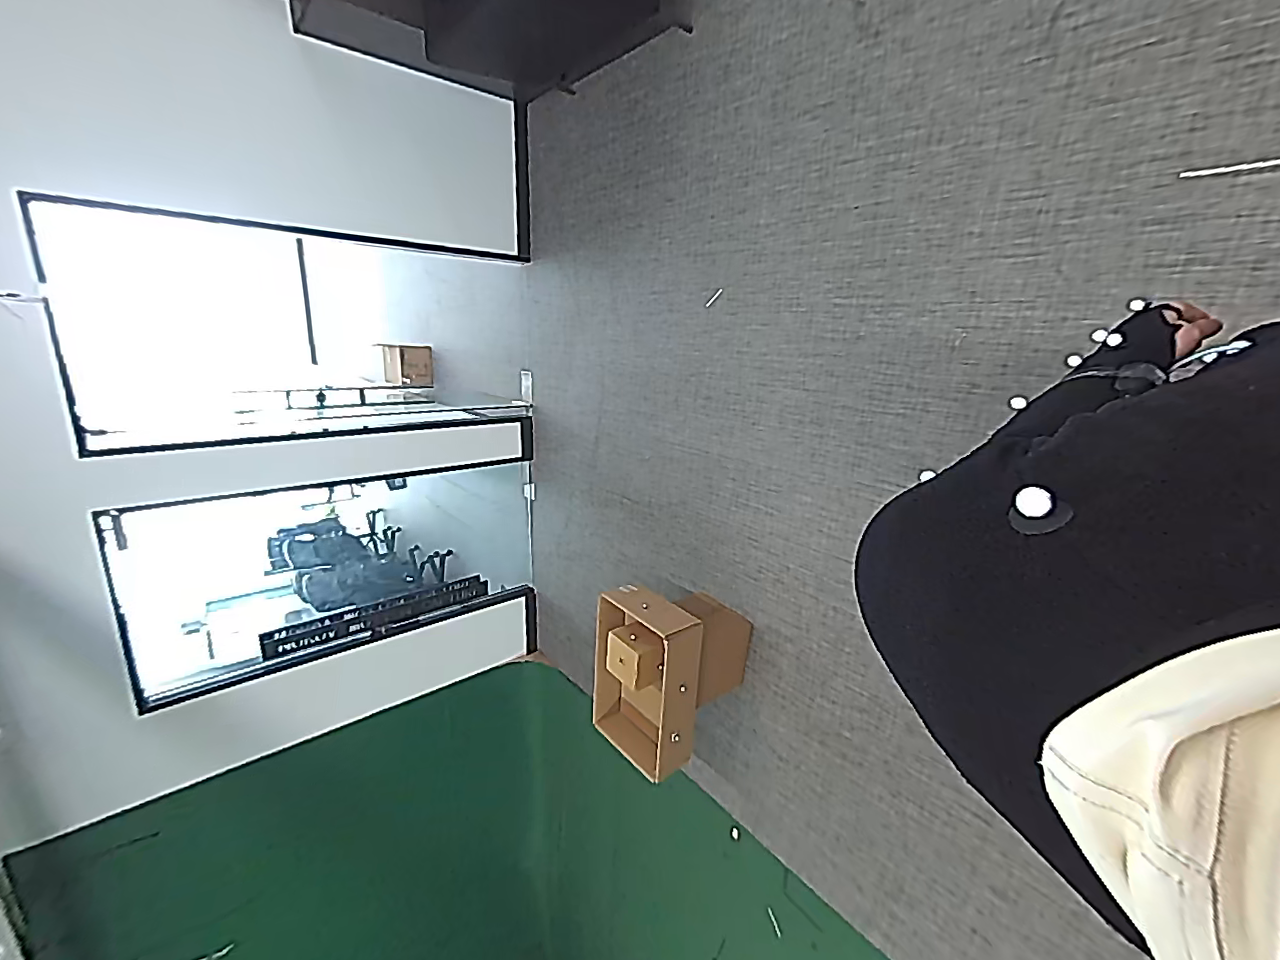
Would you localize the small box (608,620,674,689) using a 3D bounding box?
[{"bbox_3d":[0.003,0.645,2.033,0.179,0.176,0.168,22,113,46],"label":"small box"}]
